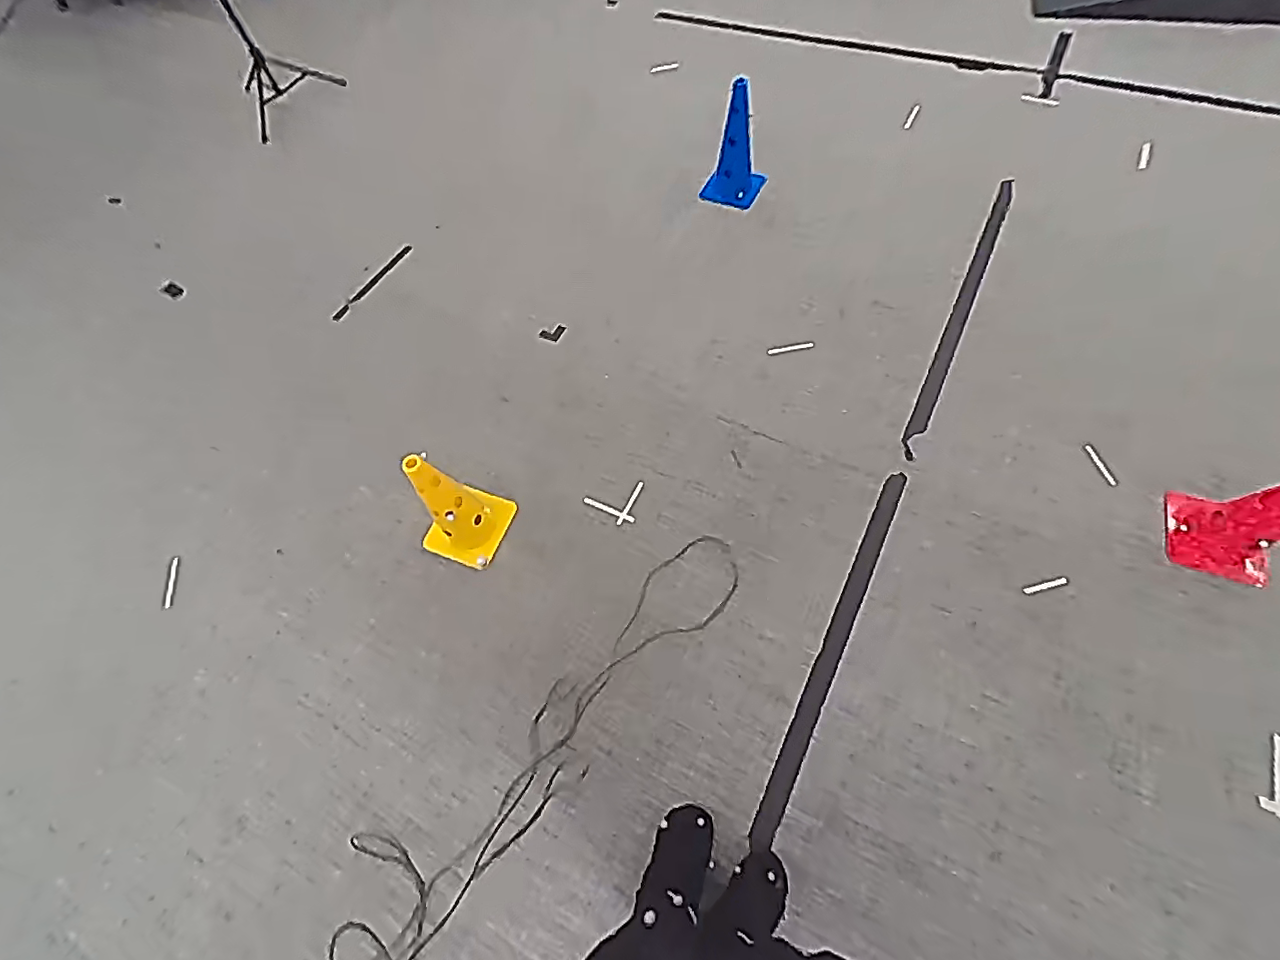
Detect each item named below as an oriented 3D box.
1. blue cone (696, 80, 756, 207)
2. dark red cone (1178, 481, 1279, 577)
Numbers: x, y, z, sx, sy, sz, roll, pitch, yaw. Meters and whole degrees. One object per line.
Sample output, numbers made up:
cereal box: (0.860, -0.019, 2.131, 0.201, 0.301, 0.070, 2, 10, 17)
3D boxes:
blue cone: (0.306, -1.161, 1.862, 0.192, 0.380, 0.193, 24, 67, 18)
dark red cone: (1.351, 0.040, 1.110, 0.201, 0.394, 0.202, 16, 65, 14)
